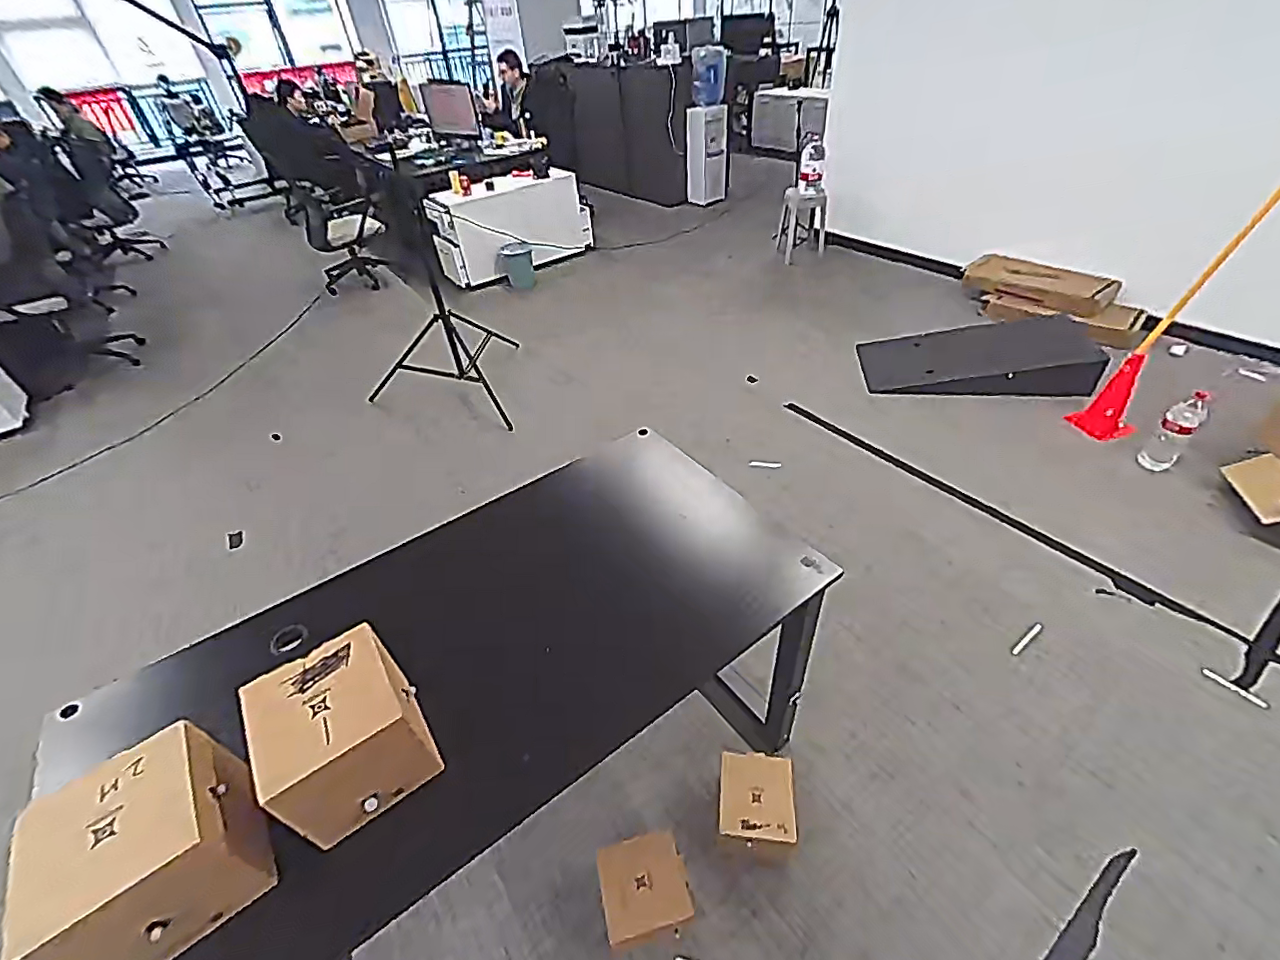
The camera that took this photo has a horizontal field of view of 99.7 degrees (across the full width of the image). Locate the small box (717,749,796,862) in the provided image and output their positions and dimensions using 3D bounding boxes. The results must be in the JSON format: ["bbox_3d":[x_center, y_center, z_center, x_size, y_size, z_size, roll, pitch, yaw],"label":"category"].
[{"bbox_3d":[0.270,0.769,1.279,0.168,0.176,0.179,2,42,8],"label":"small box"}]

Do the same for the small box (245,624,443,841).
[{"bbox_3d":[-0.396,0.341,0.735,0.168,0.176,0.179,-29,47,-24],"label":"small box"}]

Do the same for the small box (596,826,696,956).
[{"bbox_3d":[0.013,0.892,1.174,0.179,0.176,0.168,-14,41,-8],"label":"small box"}]
